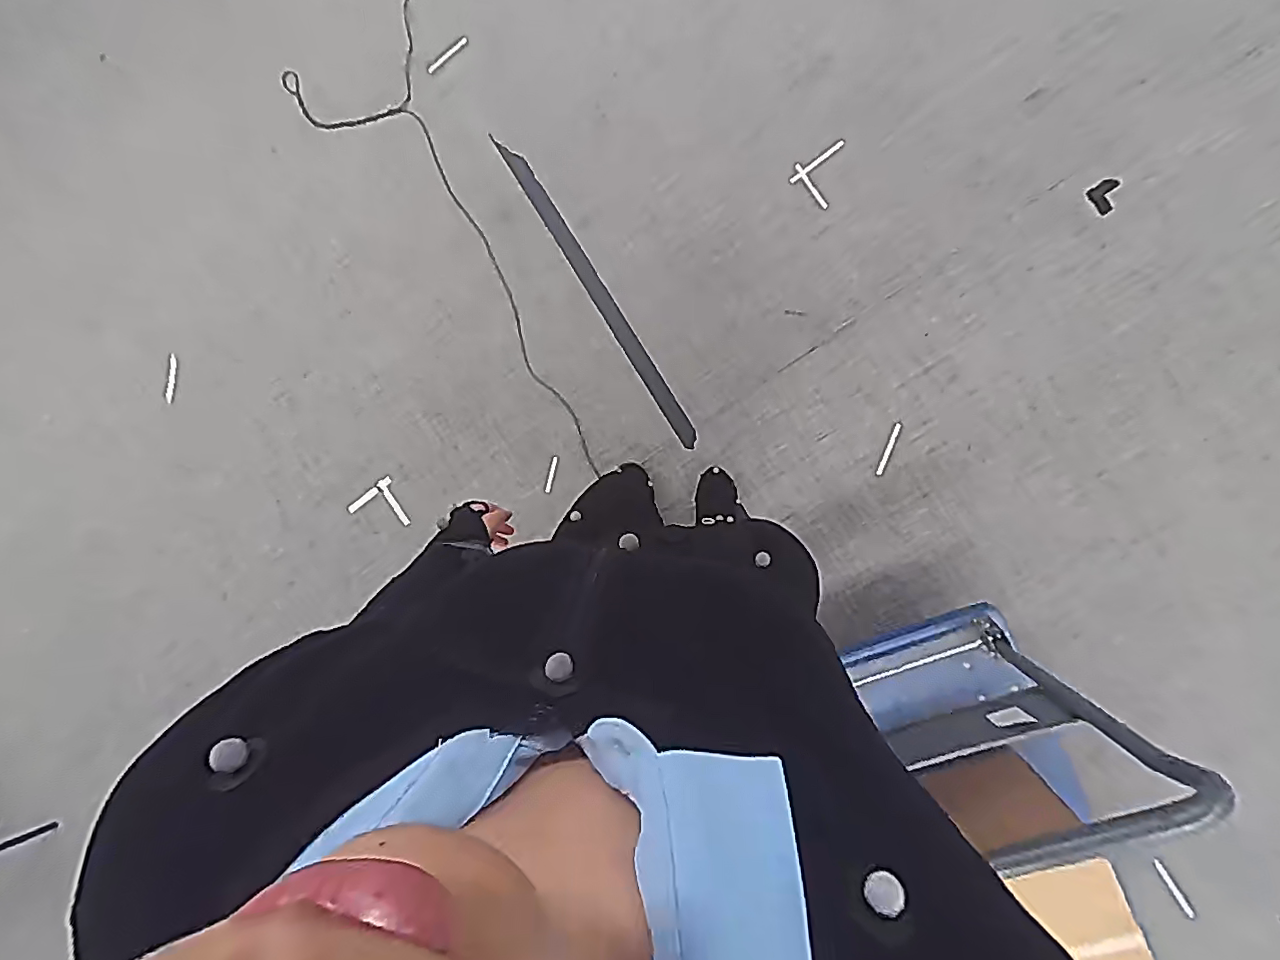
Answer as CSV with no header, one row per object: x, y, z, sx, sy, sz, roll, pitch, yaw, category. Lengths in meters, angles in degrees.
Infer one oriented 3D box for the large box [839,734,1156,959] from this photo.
0.683,0.792,1.109,0.408,0.320,0.320,-23,89,10,large box
